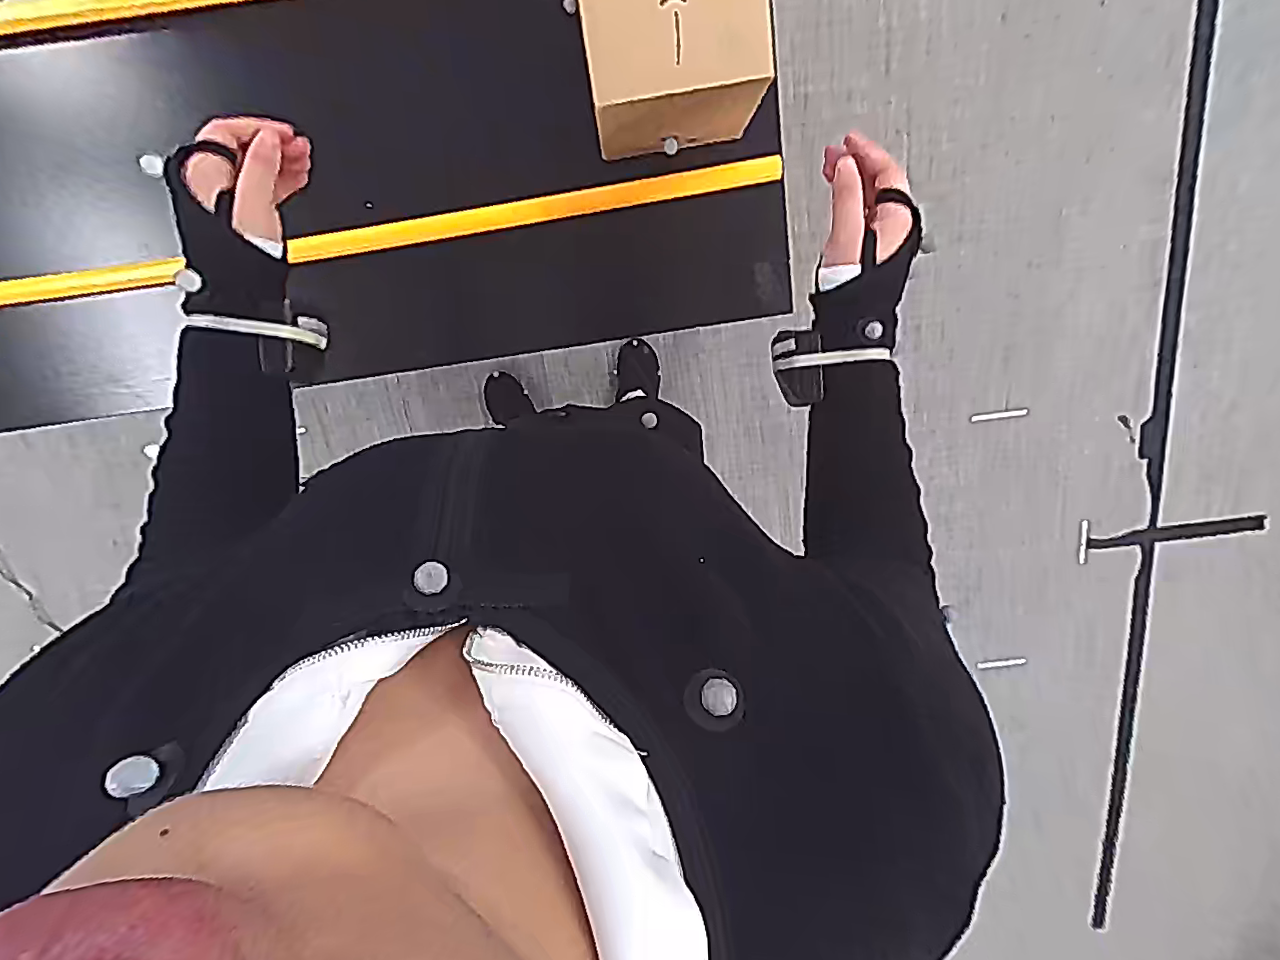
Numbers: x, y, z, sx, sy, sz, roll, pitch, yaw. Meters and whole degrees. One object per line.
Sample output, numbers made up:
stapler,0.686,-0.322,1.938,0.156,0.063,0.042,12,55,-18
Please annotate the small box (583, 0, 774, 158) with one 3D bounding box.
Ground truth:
small box,0.029,-0.458,0.548,0.168,0.176,0.179,-8,106,2
